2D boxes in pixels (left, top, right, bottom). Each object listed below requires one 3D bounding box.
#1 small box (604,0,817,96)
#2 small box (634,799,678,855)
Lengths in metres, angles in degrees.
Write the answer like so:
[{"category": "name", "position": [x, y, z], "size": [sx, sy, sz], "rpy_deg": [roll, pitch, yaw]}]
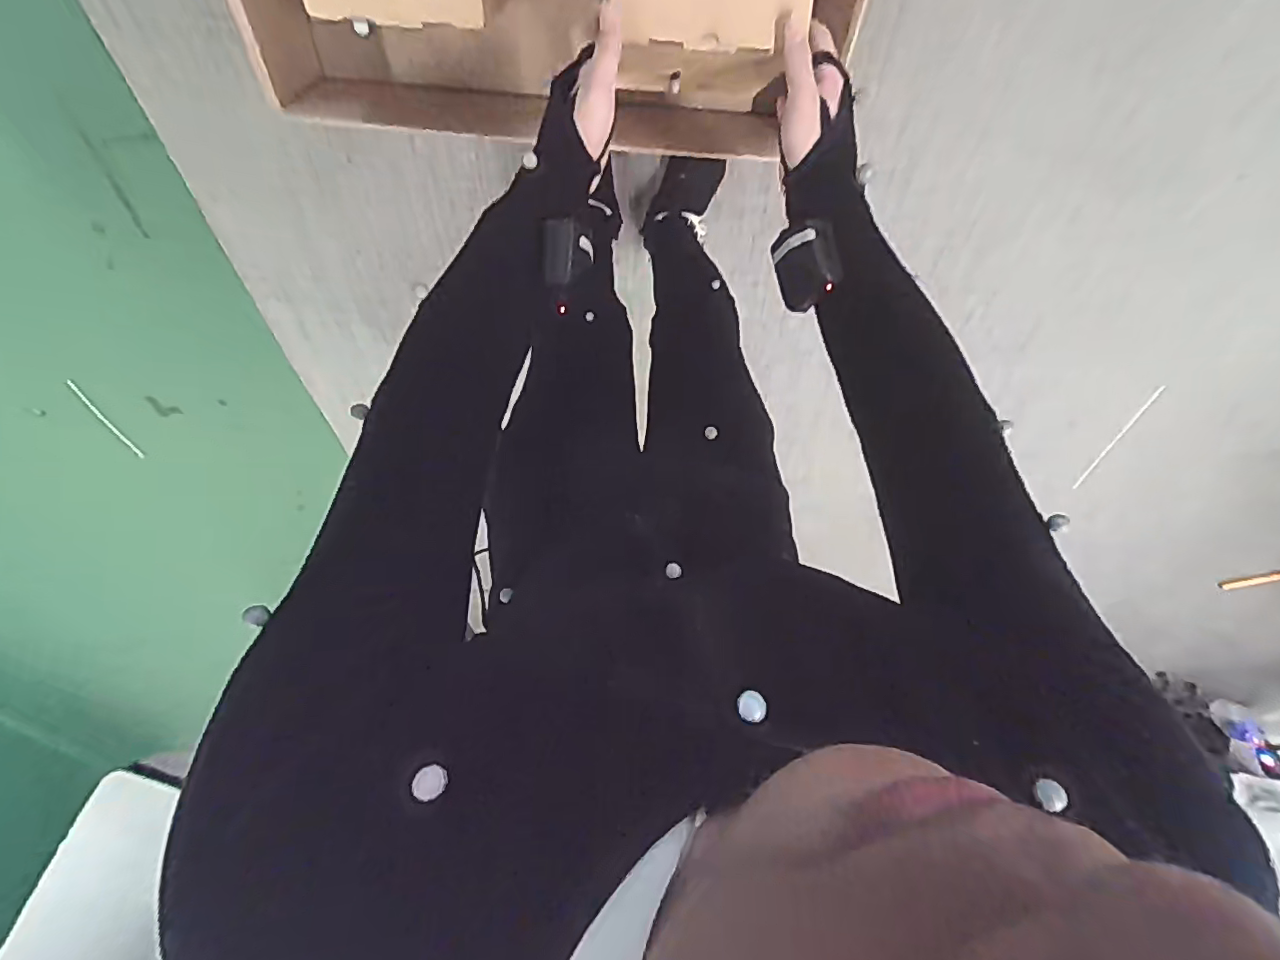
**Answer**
[{"category": "small box", "position": [0.055, -0.462, 0.471], "size": [0.168, 0.176, 0.179], "rpy_deg": [0, 116, -6]}, {"category": "small box", "position": [0.065, 1.399, 2.182], "size": [0.168, 0.176, 0.179], "rpy_deg": [-4, 138, 3]}]
